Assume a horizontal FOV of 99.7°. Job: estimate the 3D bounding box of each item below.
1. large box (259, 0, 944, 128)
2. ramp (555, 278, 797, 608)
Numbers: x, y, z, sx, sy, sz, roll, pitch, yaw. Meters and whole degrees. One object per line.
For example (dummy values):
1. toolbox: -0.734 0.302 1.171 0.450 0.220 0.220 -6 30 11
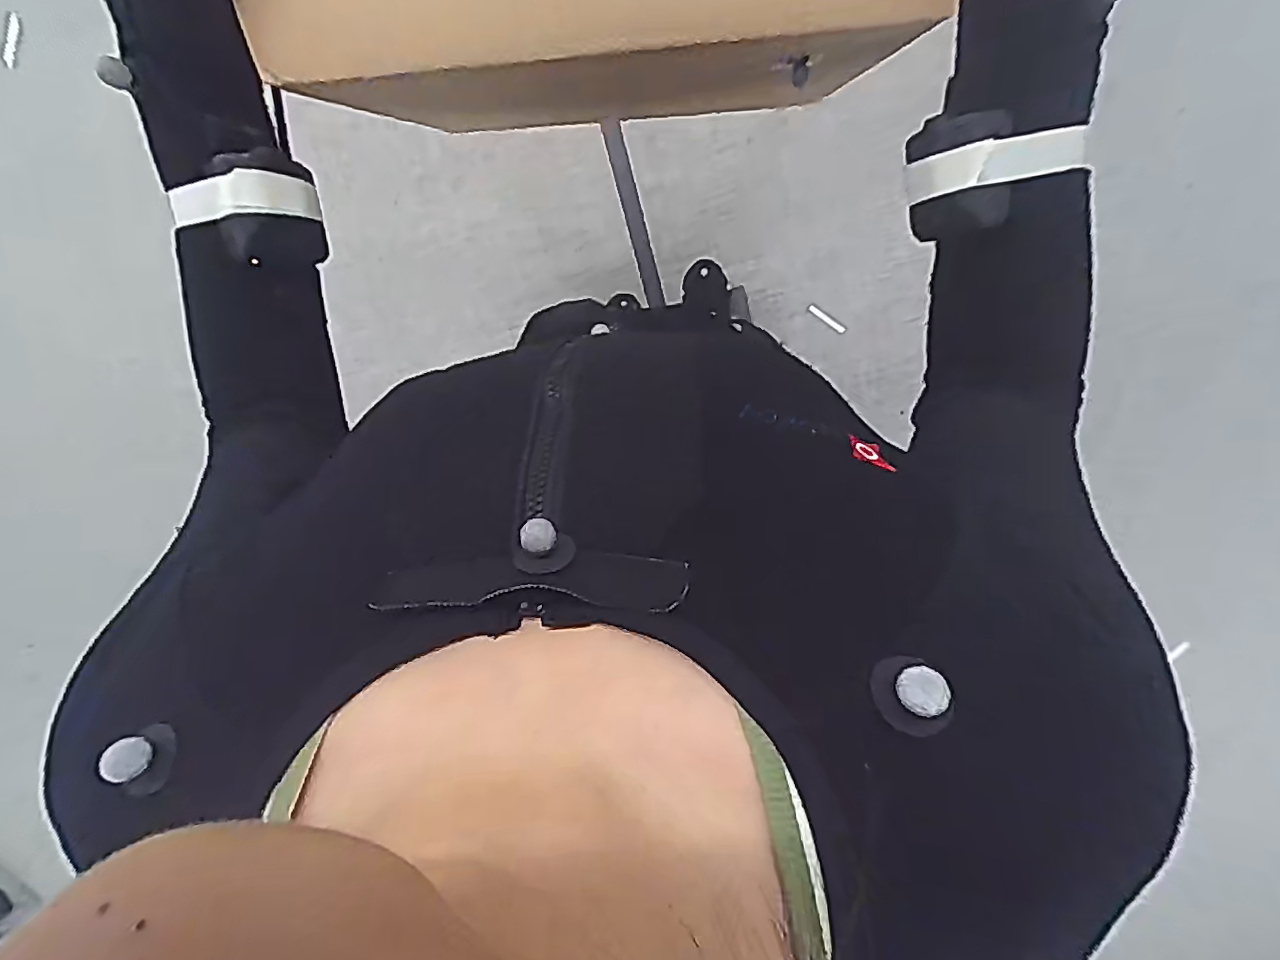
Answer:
1. large box: -0.027 -0.457 0.383 0.408 0.320 0.320 -2 117 4
2. ramp: 0.153 -0.031 1.606 0.509 0.206 0.991 -16 108 9
